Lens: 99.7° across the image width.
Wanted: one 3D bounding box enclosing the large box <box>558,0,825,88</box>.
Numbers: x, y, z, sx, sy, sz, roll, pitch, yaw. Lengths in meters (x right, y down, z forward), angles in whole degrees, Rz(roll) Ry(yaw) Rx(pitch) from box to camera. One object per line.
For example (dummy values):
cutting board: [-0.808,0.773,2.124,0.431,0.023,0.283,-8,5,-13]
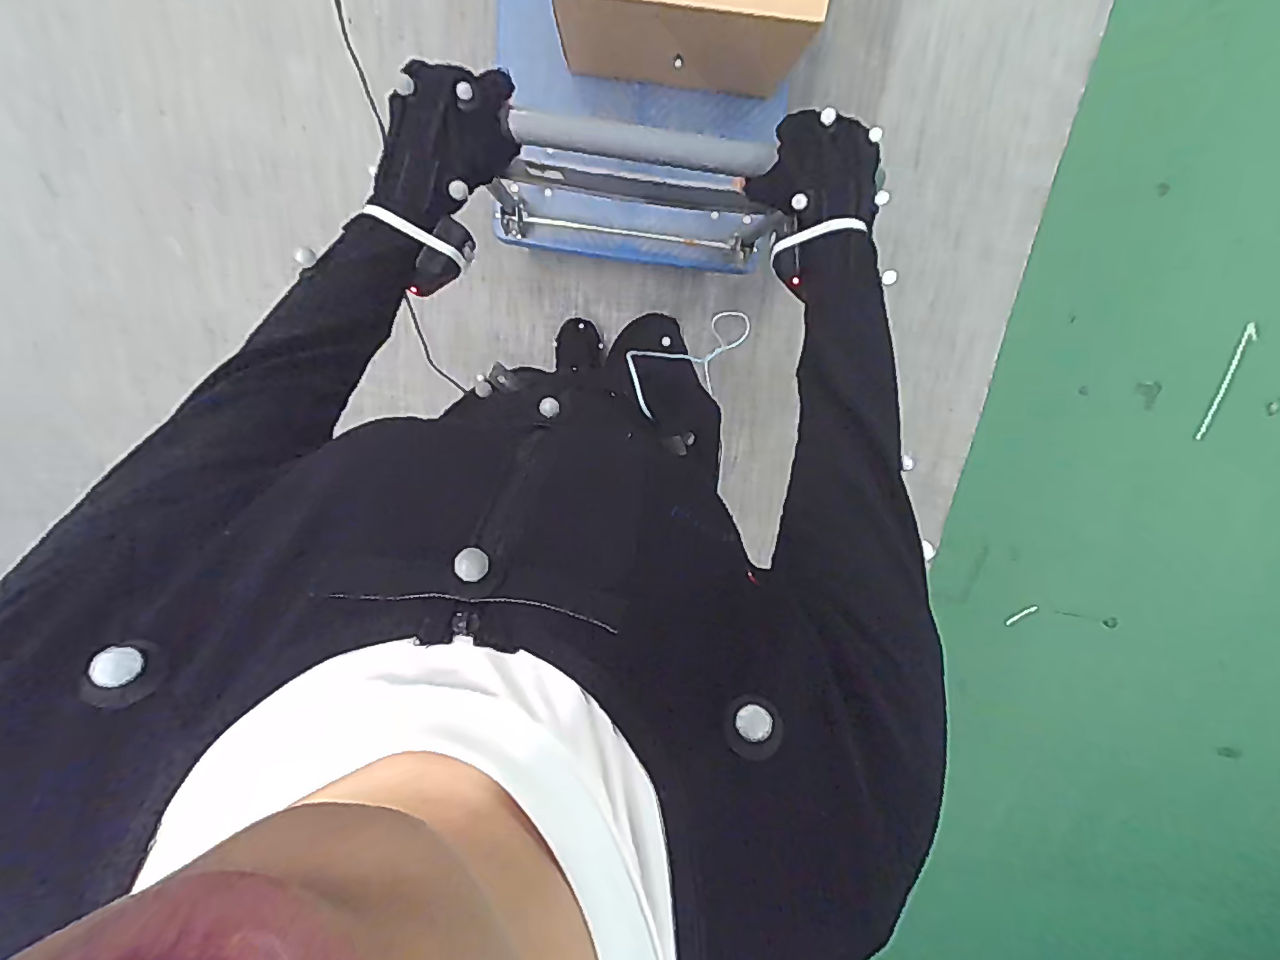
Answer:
large box: [0.086,-0.887,0.885,0.408,0.320,0.320,5,108,-2]
